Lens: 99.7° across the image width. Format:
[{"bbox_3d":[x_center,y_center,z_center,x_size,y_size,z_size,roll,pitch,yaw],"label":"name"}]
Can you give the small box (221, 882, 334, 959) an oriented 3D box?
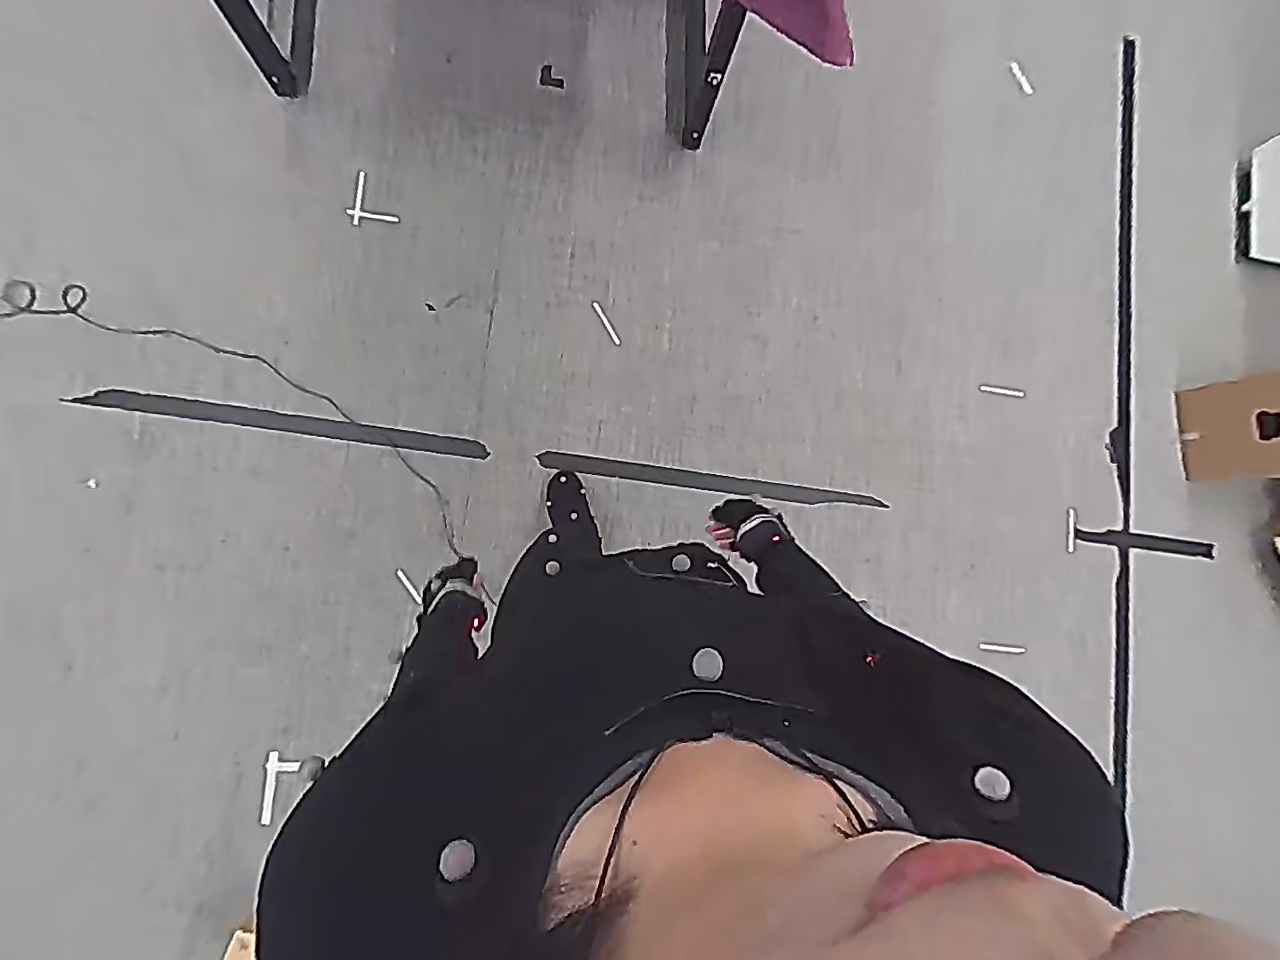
[{"bbox_3d":[-0.846,1.088,1.248,0.168,0.176,0.179,22,83,-6],"label":"small box"}]
